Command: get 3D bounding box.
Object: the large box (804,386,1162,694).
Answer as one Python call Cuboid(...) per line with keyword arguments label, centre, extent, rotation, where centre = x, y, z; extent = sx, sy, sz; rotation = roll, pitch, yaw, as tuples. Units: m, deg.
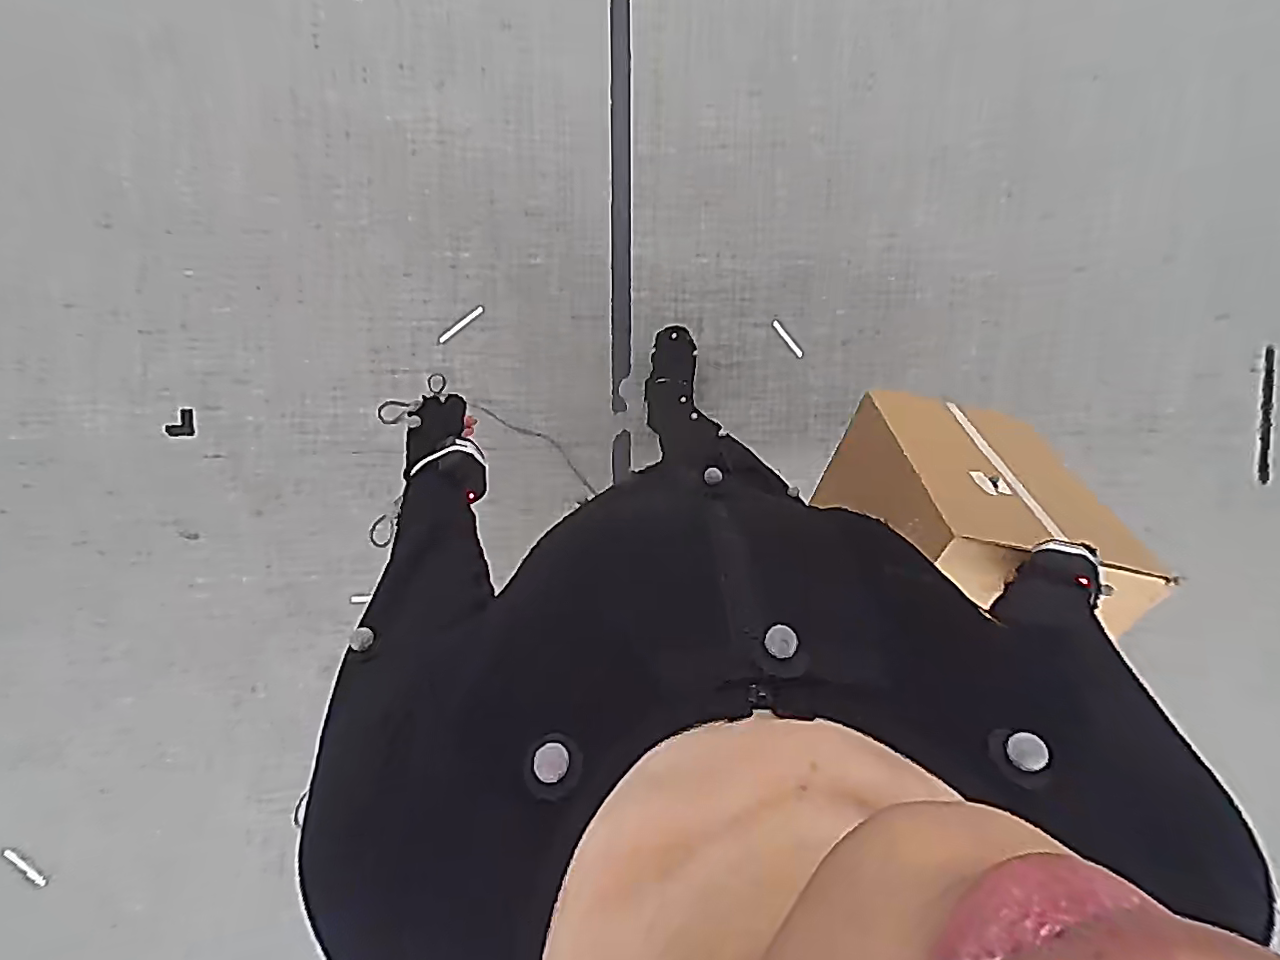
Cuboid(label="large box", centre=(0.523, 0.092, 0.947), extent=(0.320, 0.408, 0.320), rotation=(12, 128, -4))
